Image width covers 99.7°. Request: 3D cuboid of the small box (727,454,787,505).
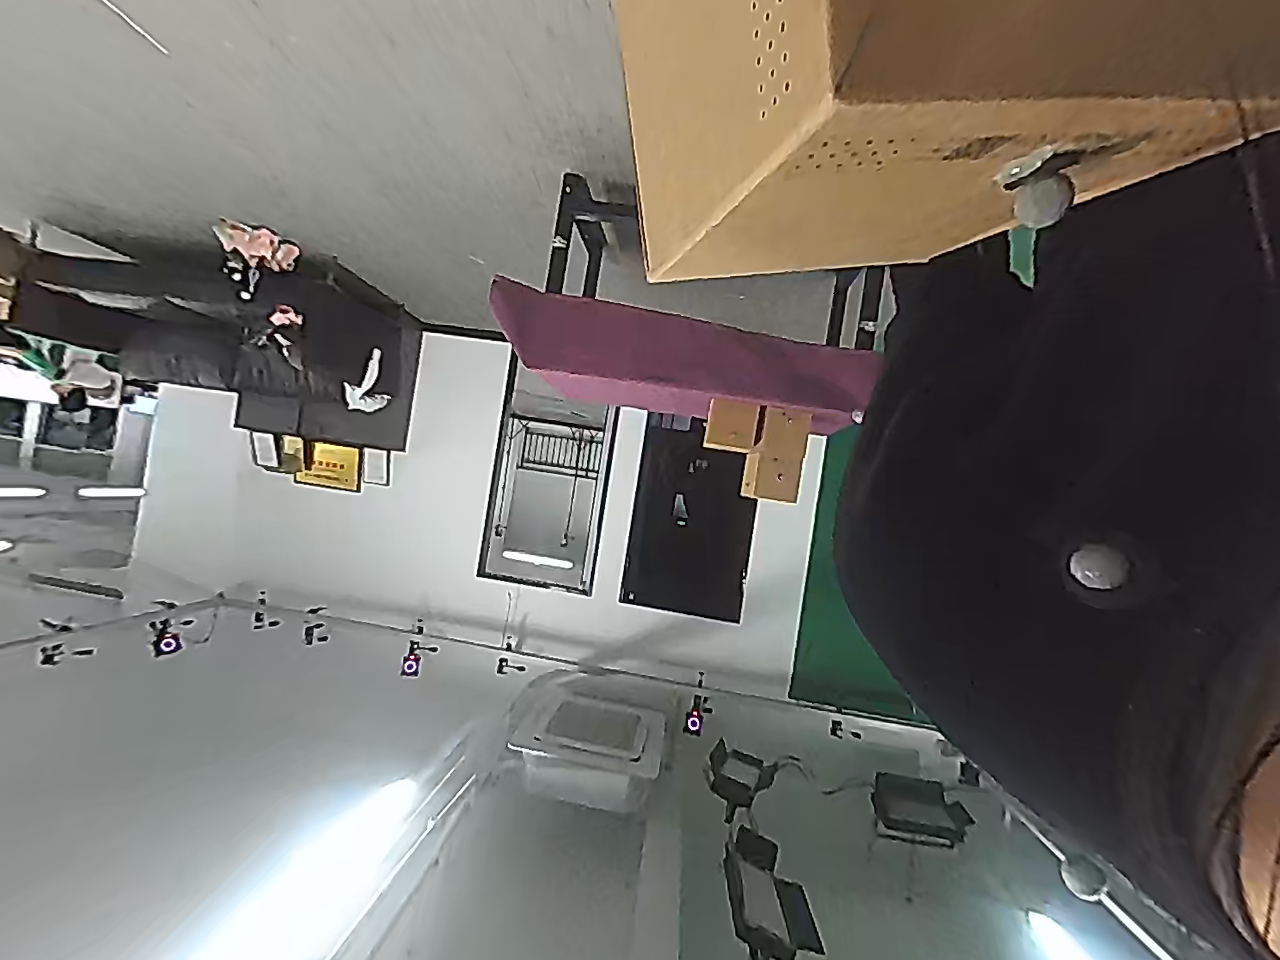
[{"bbox_3d":[0.438,-0.002,2.024,0.168,0.176,0.179,10,178,-6],"label":"small box"}]
